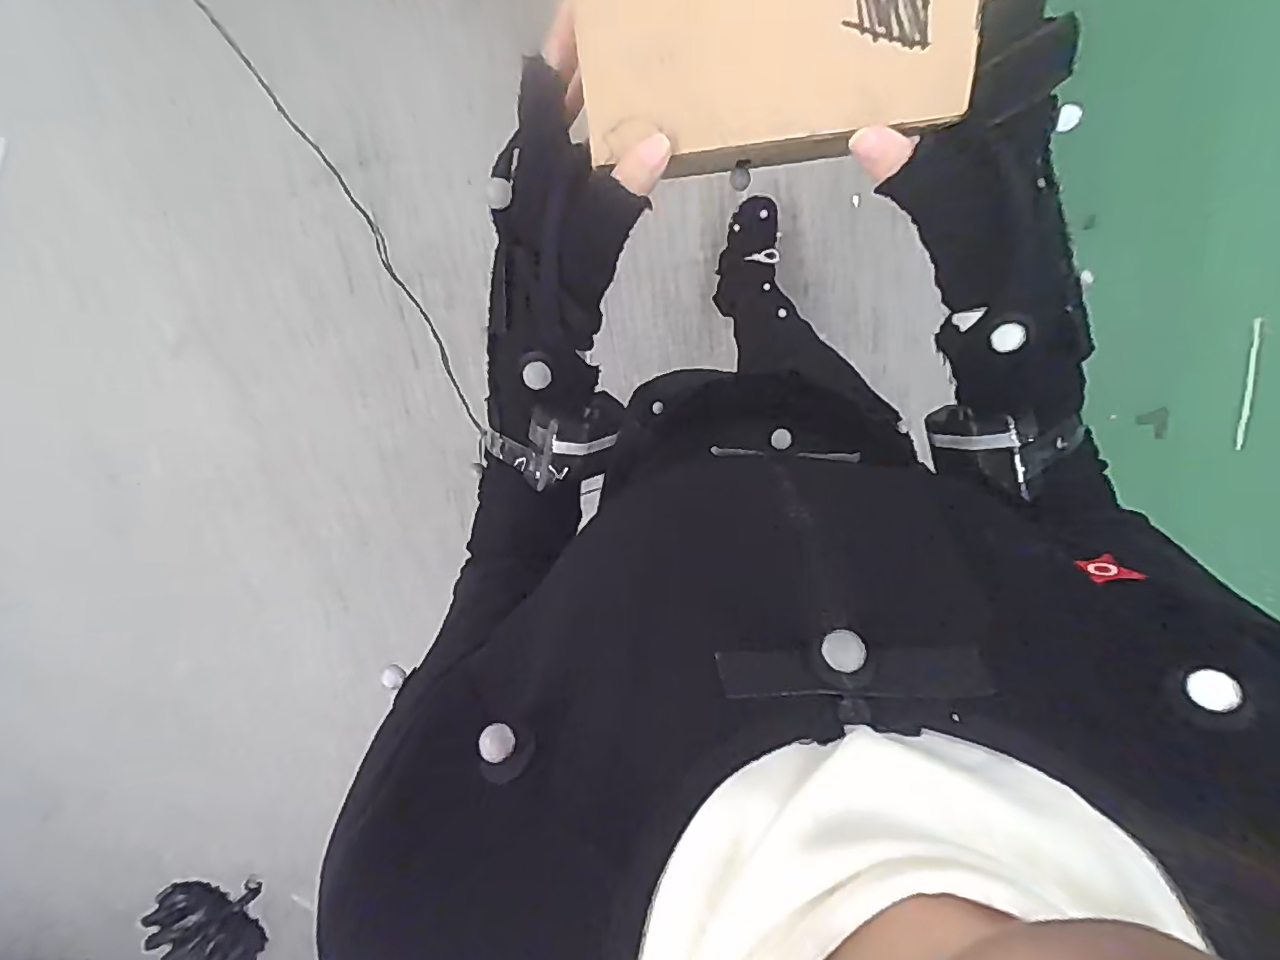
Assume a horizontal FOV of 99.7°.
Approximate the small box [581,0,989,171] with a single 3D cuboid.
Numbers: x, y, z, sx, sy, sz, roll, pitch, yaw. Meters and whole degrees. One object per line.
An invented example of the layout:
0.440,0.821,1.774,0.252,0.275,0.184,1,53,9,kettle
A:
0.061,-0.271,0.288,0.179,0.176,0.168,-5,116,6,small box
